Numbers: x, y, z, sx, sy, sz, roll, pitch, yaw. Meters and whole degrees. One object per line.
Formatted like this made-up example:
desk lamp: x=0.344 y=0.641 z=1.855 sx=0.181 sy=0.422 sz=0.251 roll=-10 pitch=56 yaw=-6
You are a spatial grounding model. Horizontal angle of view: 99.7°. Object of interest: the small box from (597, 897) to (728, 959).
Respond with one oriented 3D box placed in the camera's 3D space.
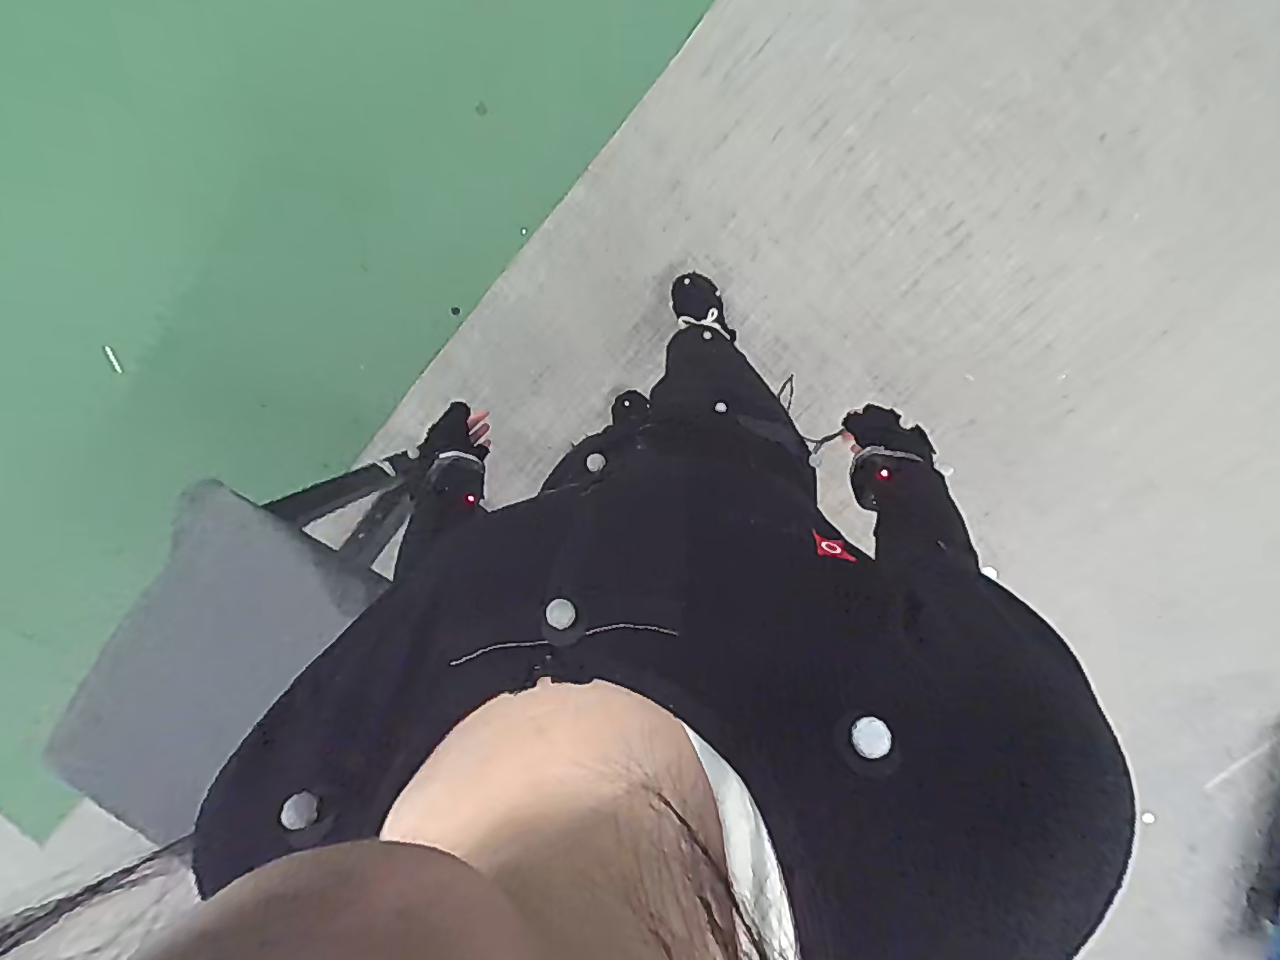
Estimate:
small box: x=0.034 y=0.834 z=0.882 sx=0.179 sy=0.176 sz=0.168 roll=41 pitch=103 yaw=-7
